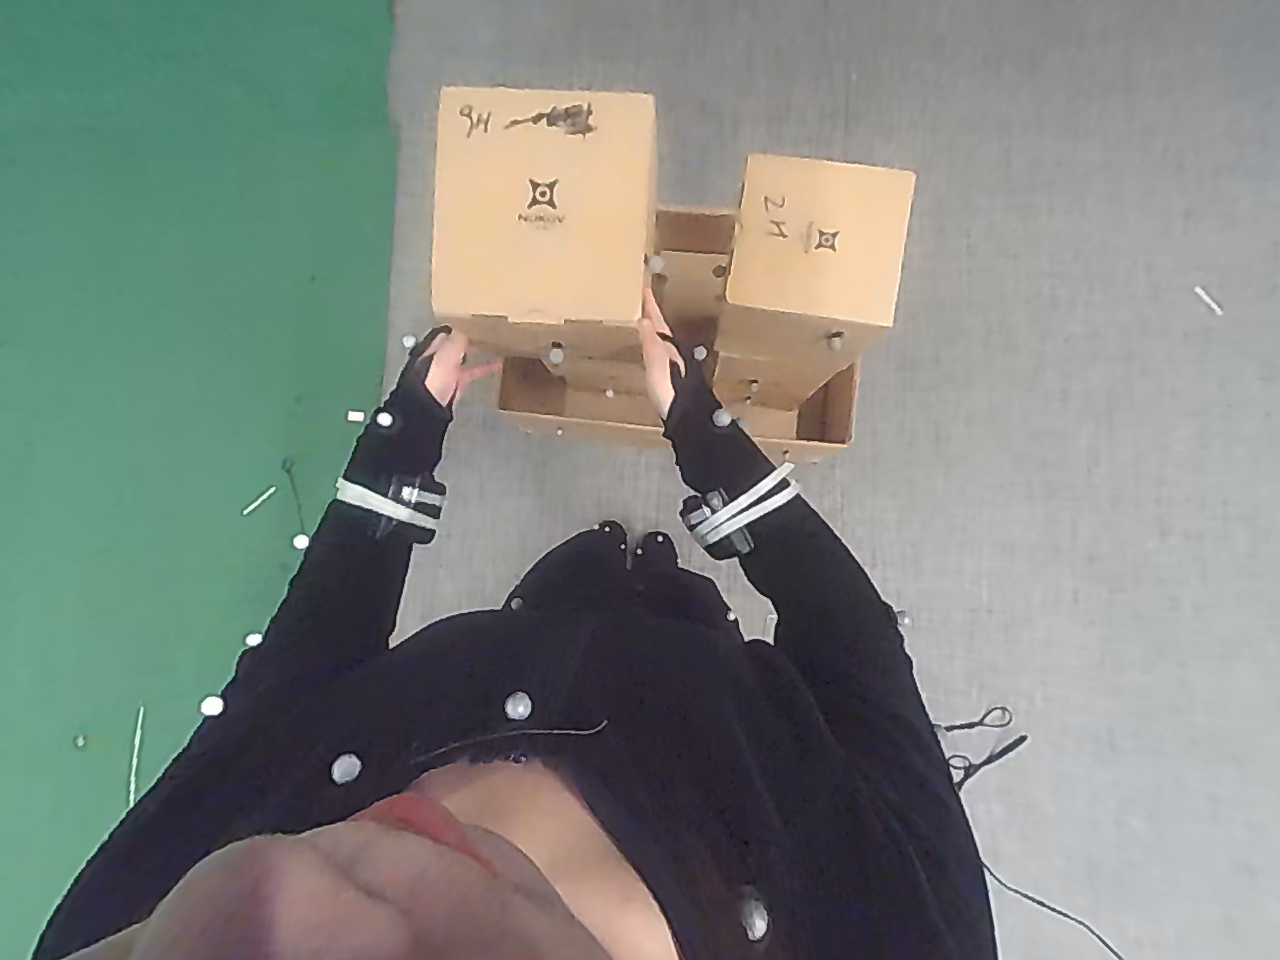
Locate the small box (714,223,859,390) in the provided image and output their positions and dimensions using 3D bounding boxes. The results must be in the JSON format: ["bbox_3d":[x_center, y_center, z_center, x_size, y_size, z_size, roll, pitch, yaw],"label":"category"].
[{"bbox_3d":[0.204,-0.245,0.798,0.168,0.176,0.179,9,89,5],"label":"small box"}]

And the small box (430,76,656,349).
[{"bbox_3d":[-0.074,-0.222,0.495,0.168,0.176,0.179,4,93,2],"label":"small box"}]
